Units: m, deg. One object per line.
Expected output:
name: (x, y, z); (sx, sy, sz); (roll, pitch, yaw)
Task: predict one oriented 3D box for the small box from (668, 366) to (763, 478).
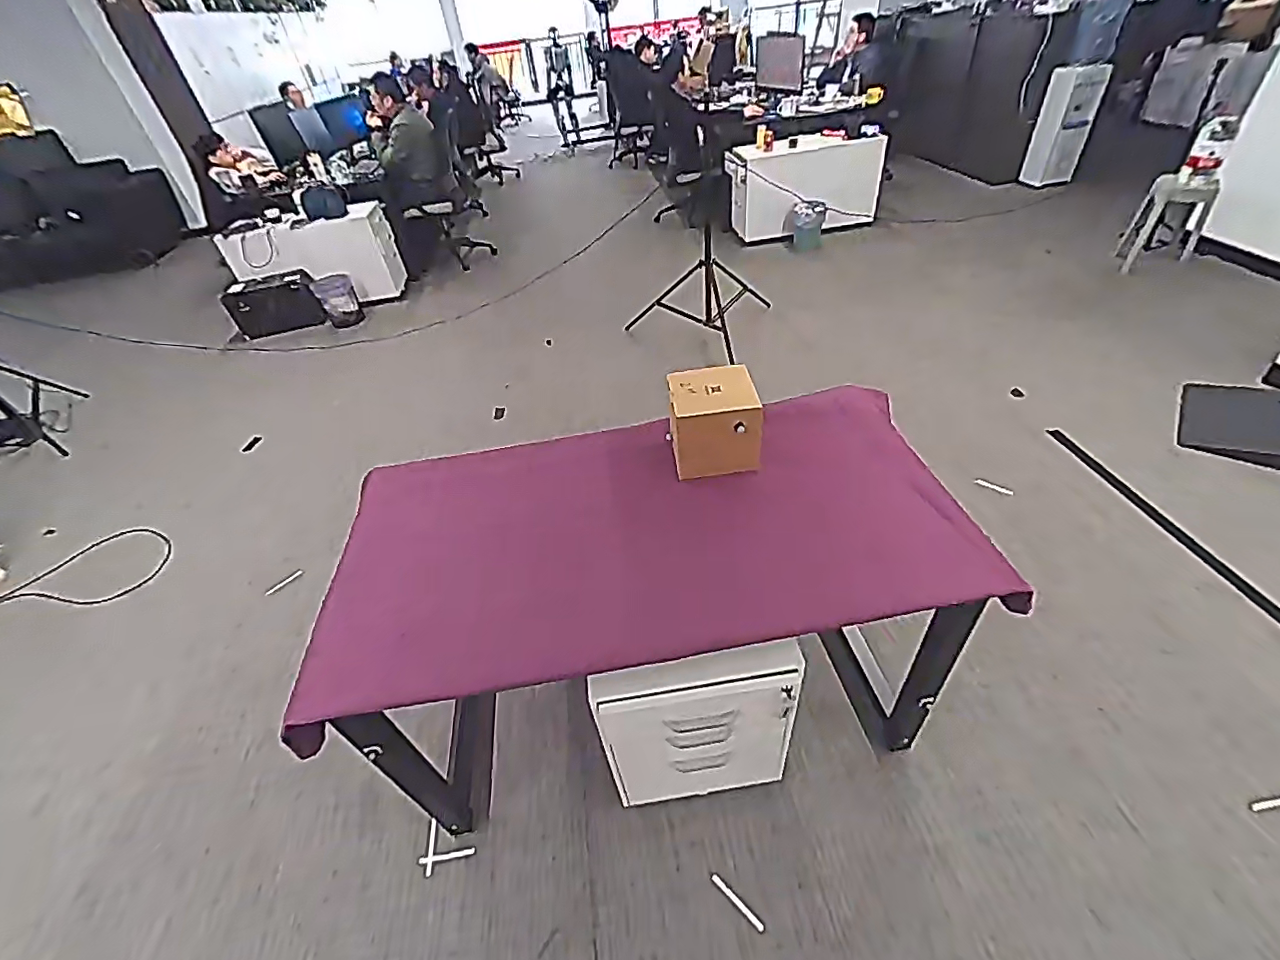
small box: (0.158, -0.123, 1.169); (0.179, 0.176, 0.168); (-8, 42, 1)
